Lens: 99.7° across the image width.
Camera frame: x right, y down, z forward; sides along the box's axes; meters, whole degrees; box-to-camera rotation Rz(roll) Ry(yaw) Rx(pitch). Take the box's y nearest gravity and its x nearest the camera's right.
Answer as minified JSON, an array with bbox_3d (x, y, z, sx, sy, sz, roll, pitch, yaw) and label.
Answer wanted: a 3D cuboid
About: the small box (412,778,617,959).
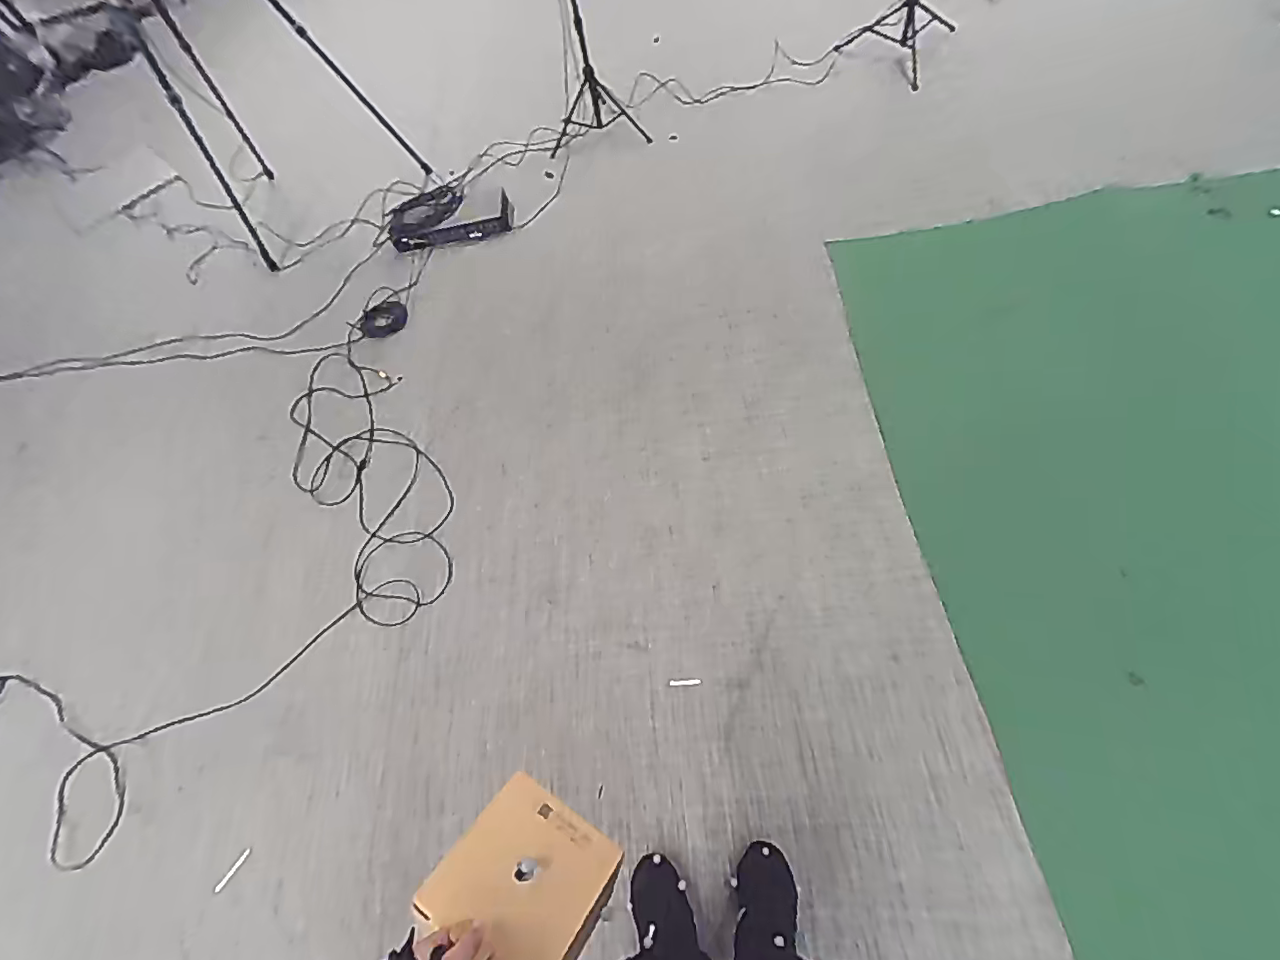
[{"bbox_3d":[-0.143,0.505,0.652,0.168,0.179,0.176,25,39,20],"label":"small box"}]
